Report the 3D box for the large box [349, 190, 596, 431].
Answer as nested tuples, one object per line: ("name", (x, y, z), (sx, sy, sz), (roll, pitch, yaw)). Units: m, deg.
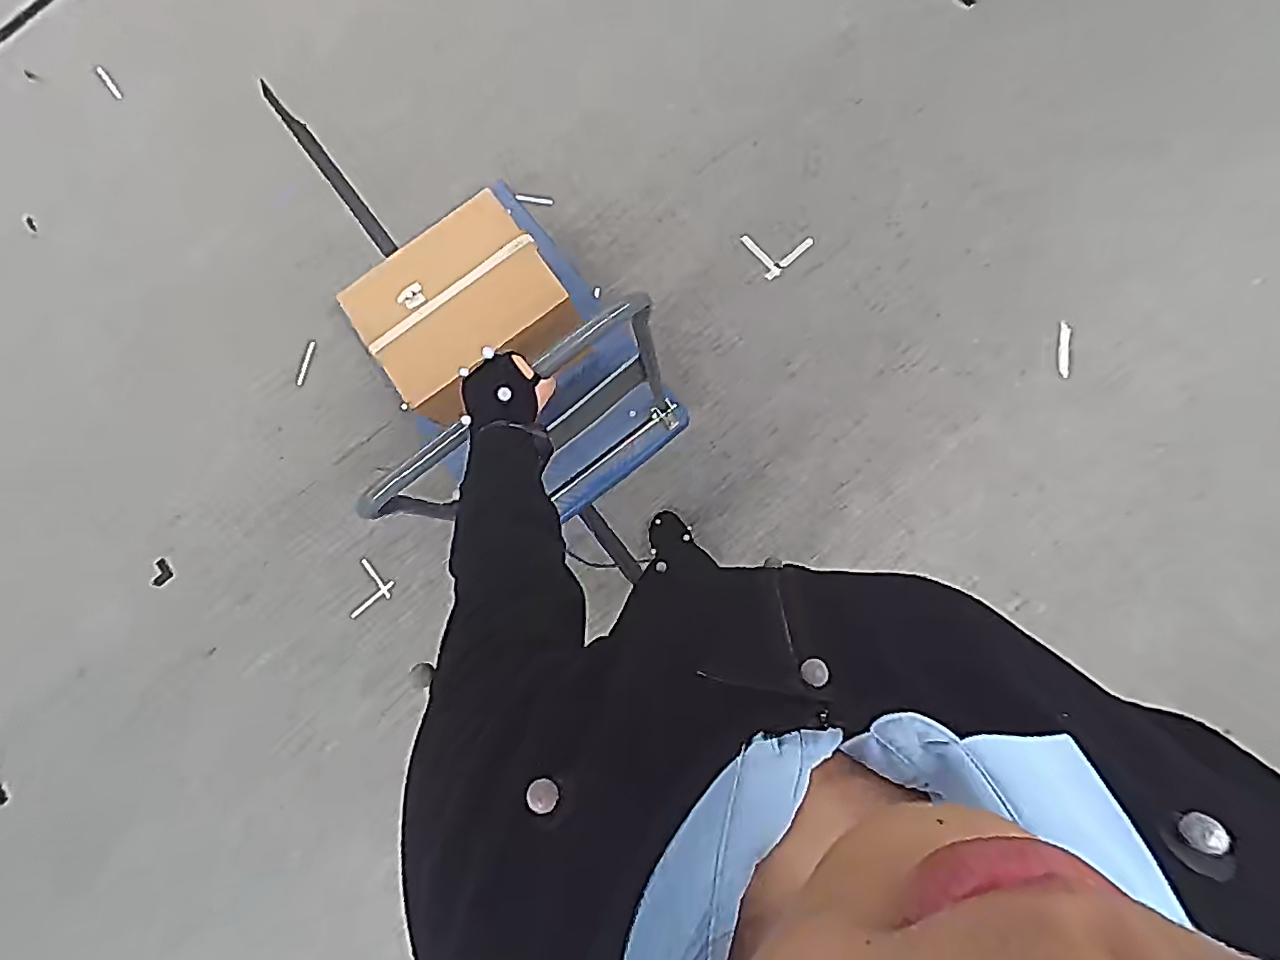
("large box", (-0.371, -0.375, 1.290), (0.408, 0.320, 0.320), (-36, 81, 1))
